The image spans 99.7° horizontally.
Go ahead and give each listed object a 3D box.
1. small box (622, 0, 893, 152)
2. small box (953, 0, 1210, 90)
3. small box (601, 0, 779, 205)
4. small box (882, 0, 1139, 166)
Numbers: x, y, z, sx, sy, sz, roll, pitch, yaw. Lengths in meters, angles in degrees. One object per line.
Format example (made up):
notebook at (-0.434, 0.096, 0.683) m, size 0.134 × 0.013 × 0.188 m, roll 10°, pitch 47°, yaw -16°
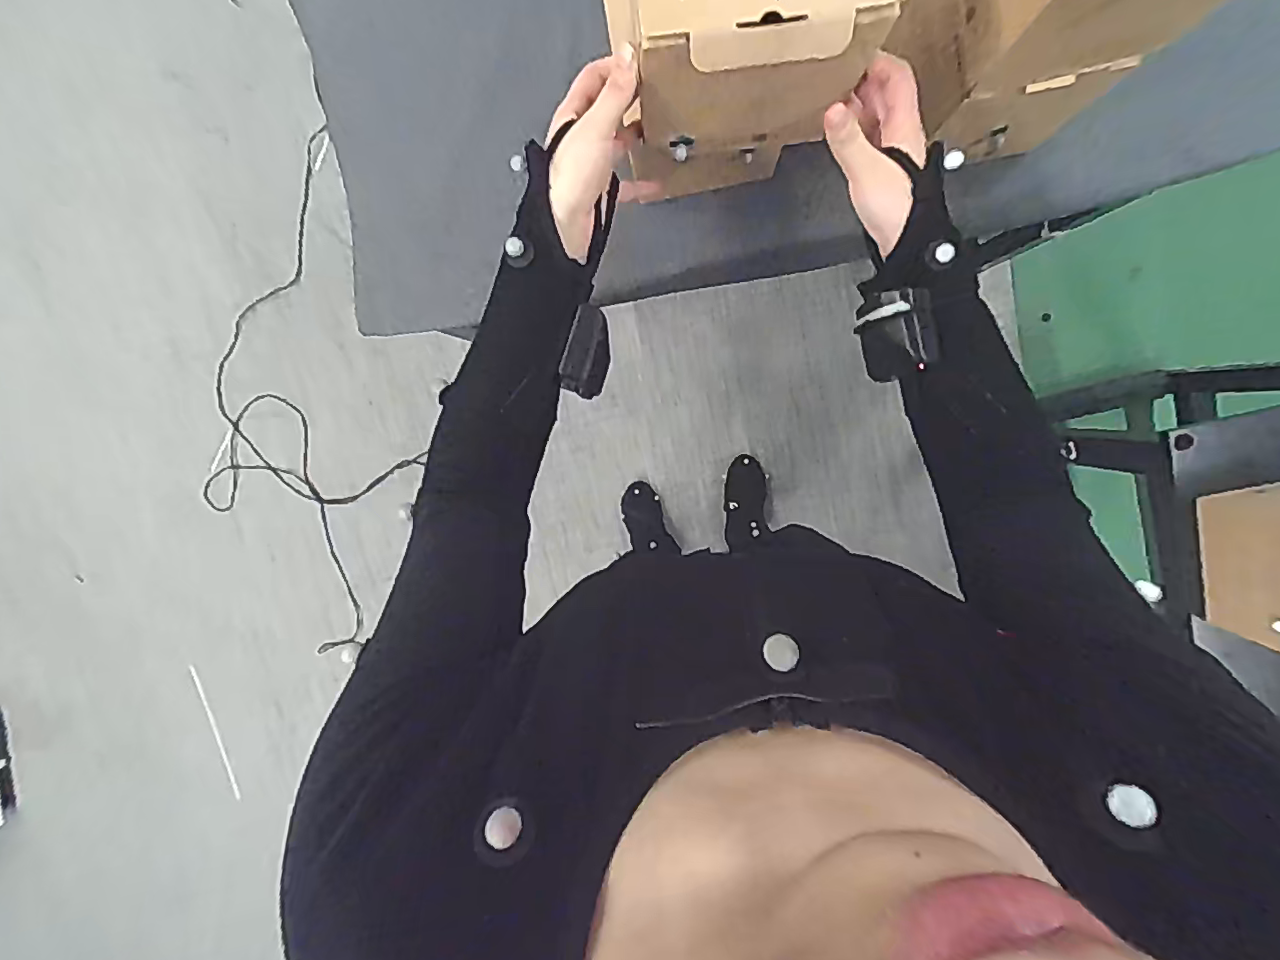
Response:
small box at (0.070, -0.368, 0.399) m, size 0.168 × 0.176 × 0.179 m, roll -5°, pitch 98°, yaw 3°
small box at (0.369, -0.450, 0.416) m, size 0.179 × 0.176 × 0.168 m, roll -11°, pitch 95°, yaw 7°
small box at (0.063, -0.442, 0.613) m, size 0.179 × 0.176 × 0.168 m, roll -9°, pitch 94°, yaw 7°
small box at (0.376, -0.466, 0.578) m, size 0.168 × 0.176 × 0.179 m, roll -9°, pitch 96°, yaw 7°
